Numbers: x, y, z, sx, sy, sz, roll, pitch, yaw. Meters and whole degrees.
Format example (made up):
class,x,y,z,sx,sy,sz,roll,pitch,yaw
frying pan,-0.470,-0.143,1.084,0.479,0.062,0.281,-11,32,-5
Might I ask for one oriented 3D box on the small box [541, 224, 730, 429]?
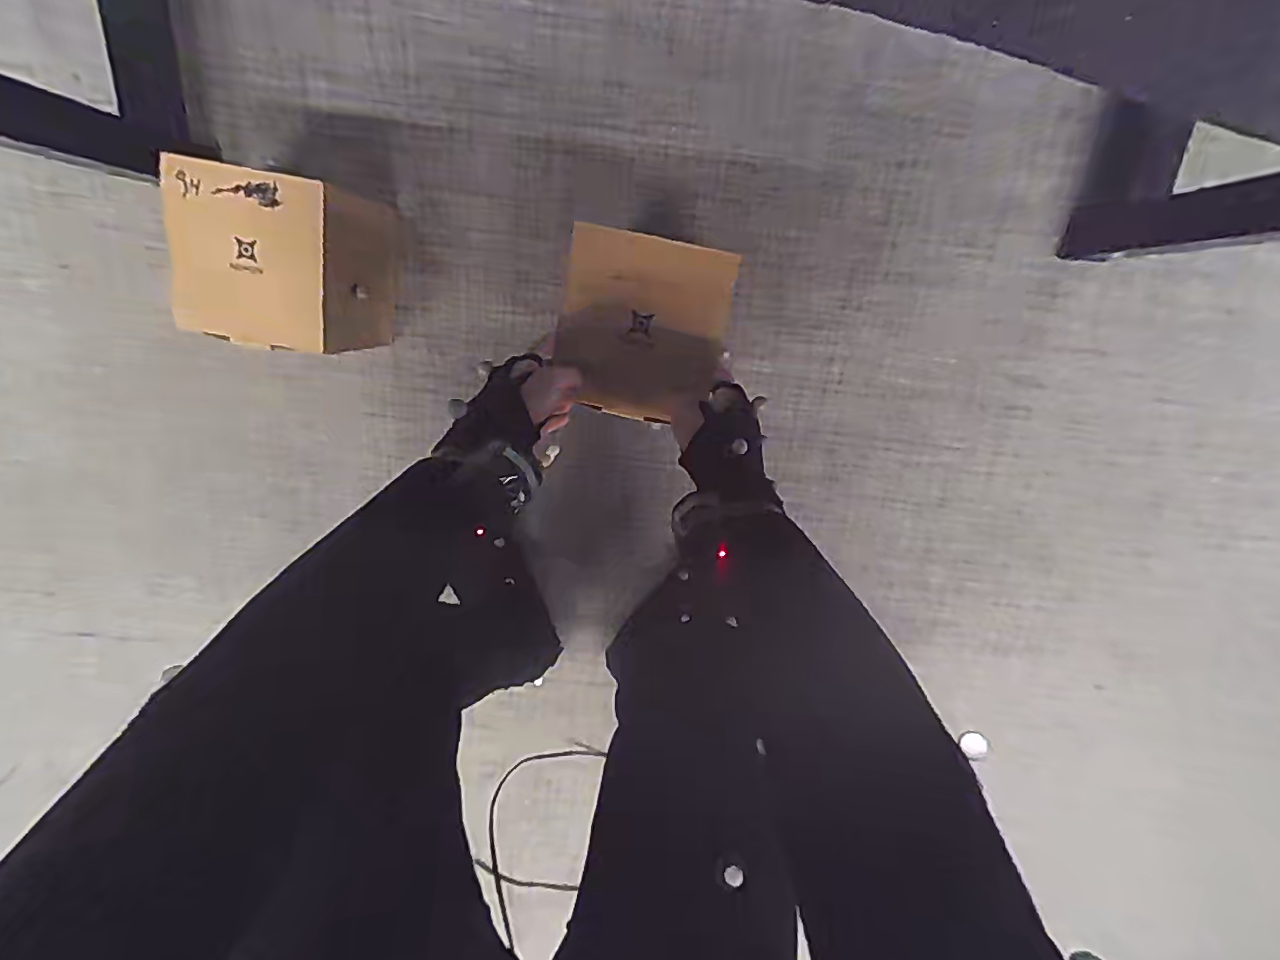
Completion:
class,x,y,z,sx,sy,sz,roll,pitch,yaw
small box,-0.002,-0.164,0.618,0.168,0.176,0.179,11,99,1
